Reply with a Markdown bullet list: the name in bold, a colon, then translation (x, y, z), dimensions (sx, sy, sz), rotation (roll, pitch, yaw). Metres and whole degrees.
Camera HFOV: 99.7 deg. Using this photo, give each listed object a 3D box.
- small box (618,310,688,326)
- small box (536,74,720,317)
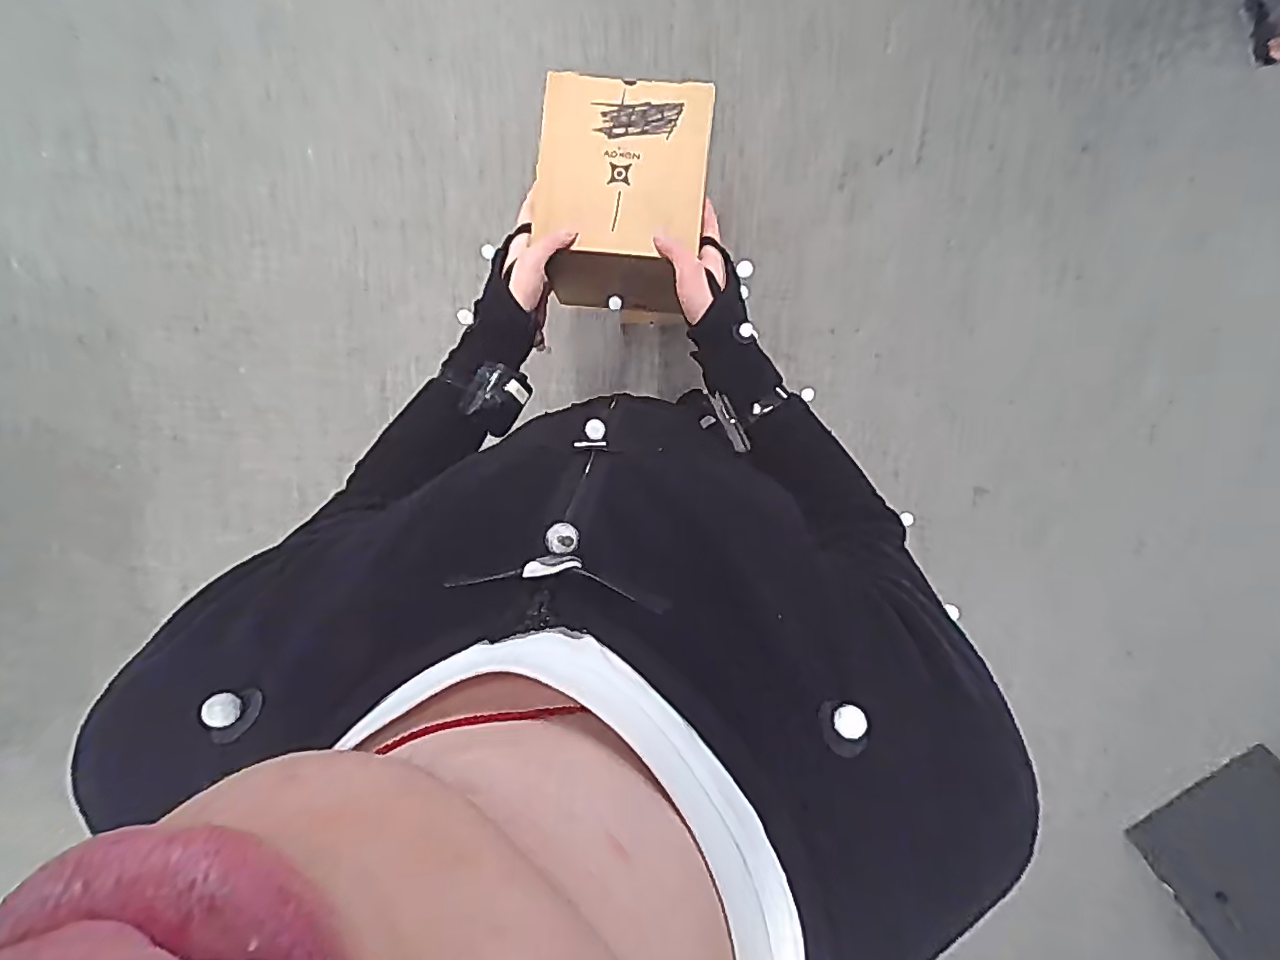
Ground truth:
- **small box**: translation (0.035, -0.503, 1.418), dimensions (0.179, 0.176, 0.168), rotation (2, 97, -1)
- **small box**: translation (-0.011, -0.302, 0.606), dimensions (0.168, 0.176, 0.179), rotation (6, 90, 2)
